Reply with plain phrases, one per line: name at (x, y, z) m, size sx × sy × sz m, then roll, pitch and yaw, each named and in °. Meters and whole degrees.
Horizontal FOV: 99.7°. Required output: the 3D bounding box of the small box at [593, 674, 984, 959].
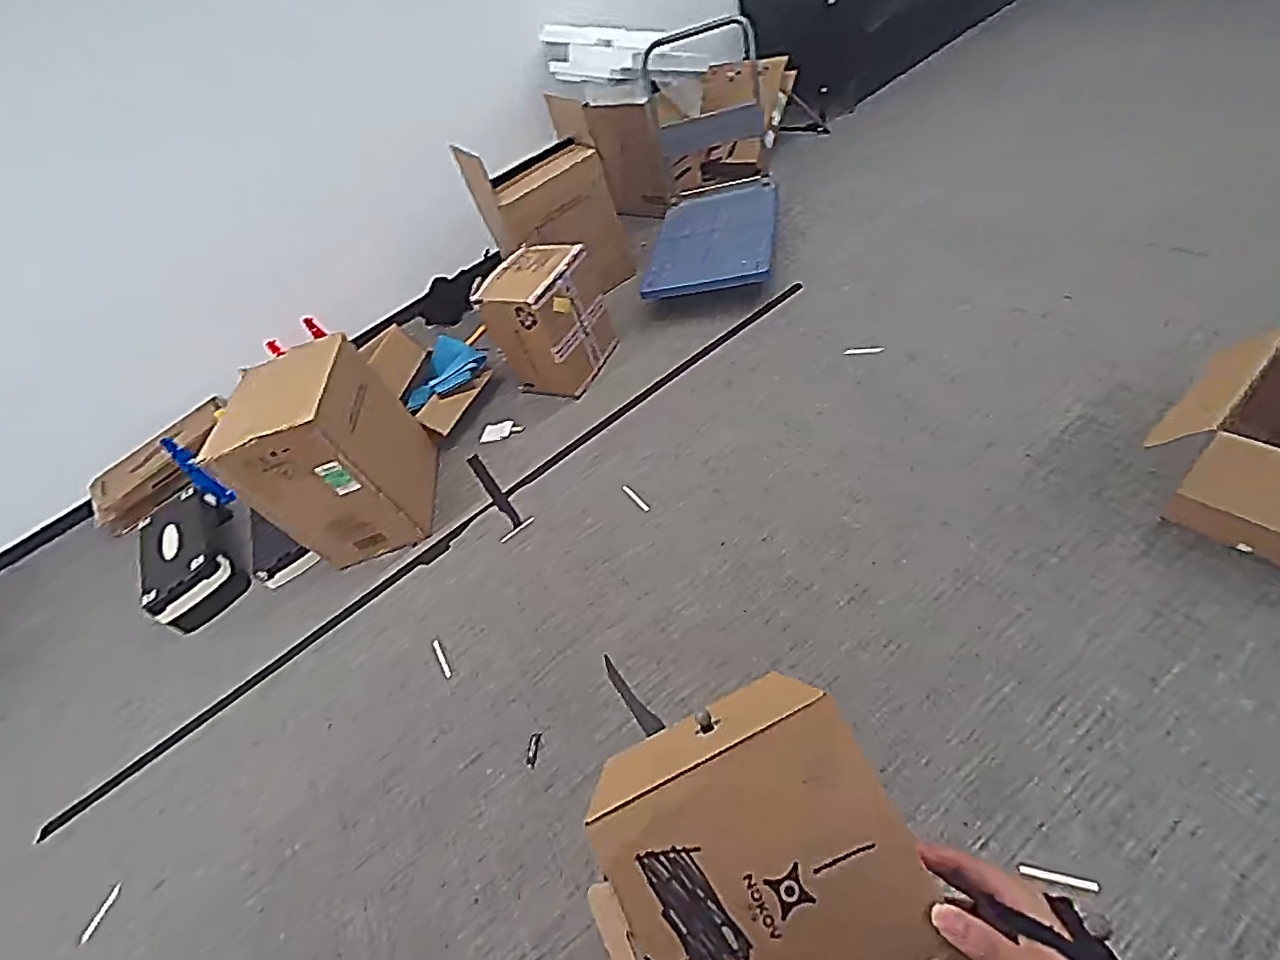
small box at (0.085, 0.258, 0.390) m, size 0.179 × 0.176 × 0.168 m, roll -25°, pitch 76°, yaw -6°
